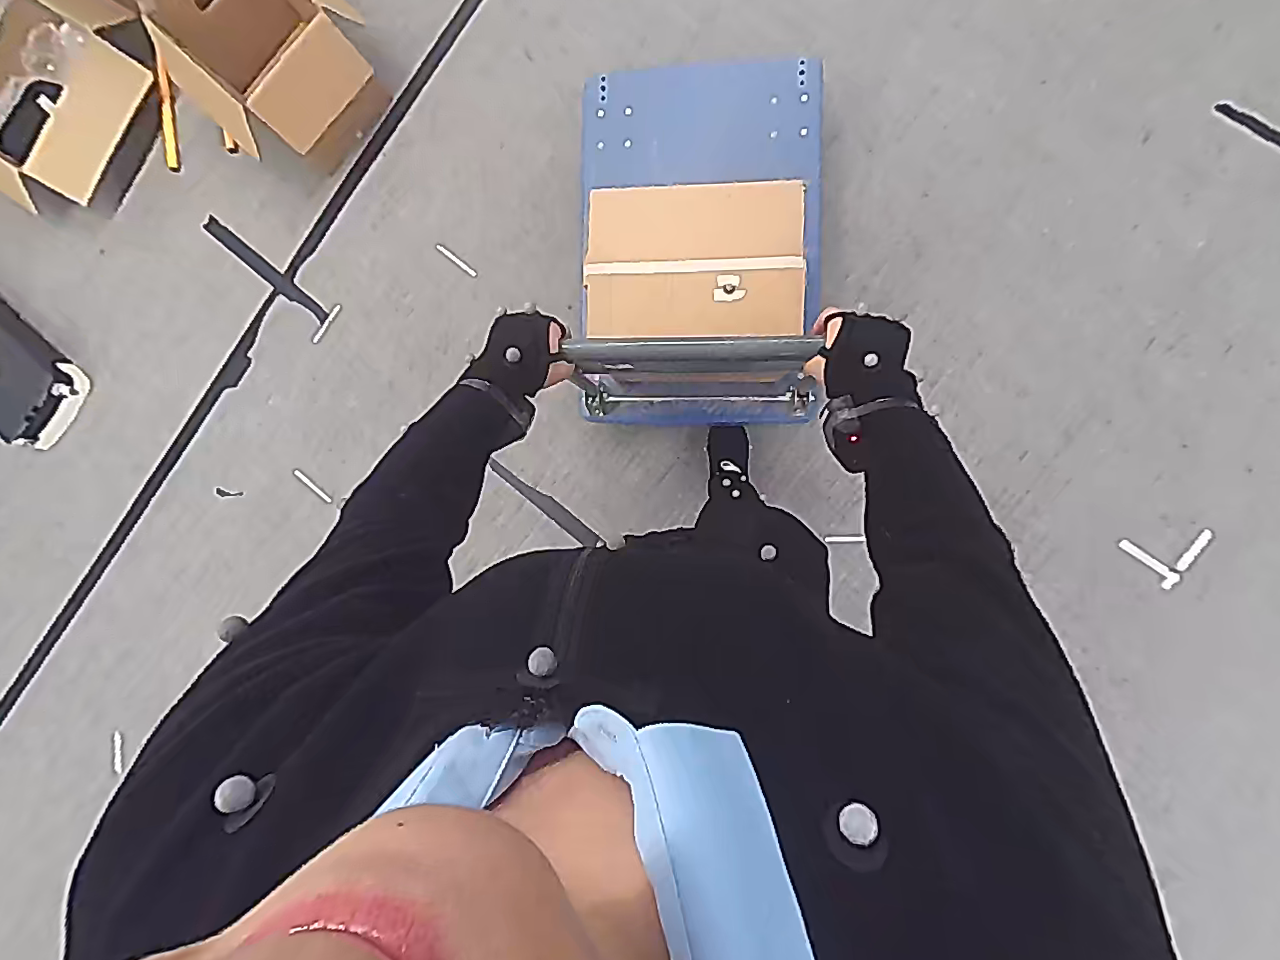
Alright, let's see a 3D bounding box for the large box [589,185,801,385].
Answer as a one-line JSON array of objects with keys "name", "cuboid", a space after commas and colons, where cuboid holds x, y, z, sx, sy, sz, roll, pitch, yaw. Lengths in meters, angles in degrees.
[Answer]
[{"name": "large box", "cuboid": [0.113, -0.390, 1.163, 0.408, 0.320, 0.320, 1, 90, 6]}]
